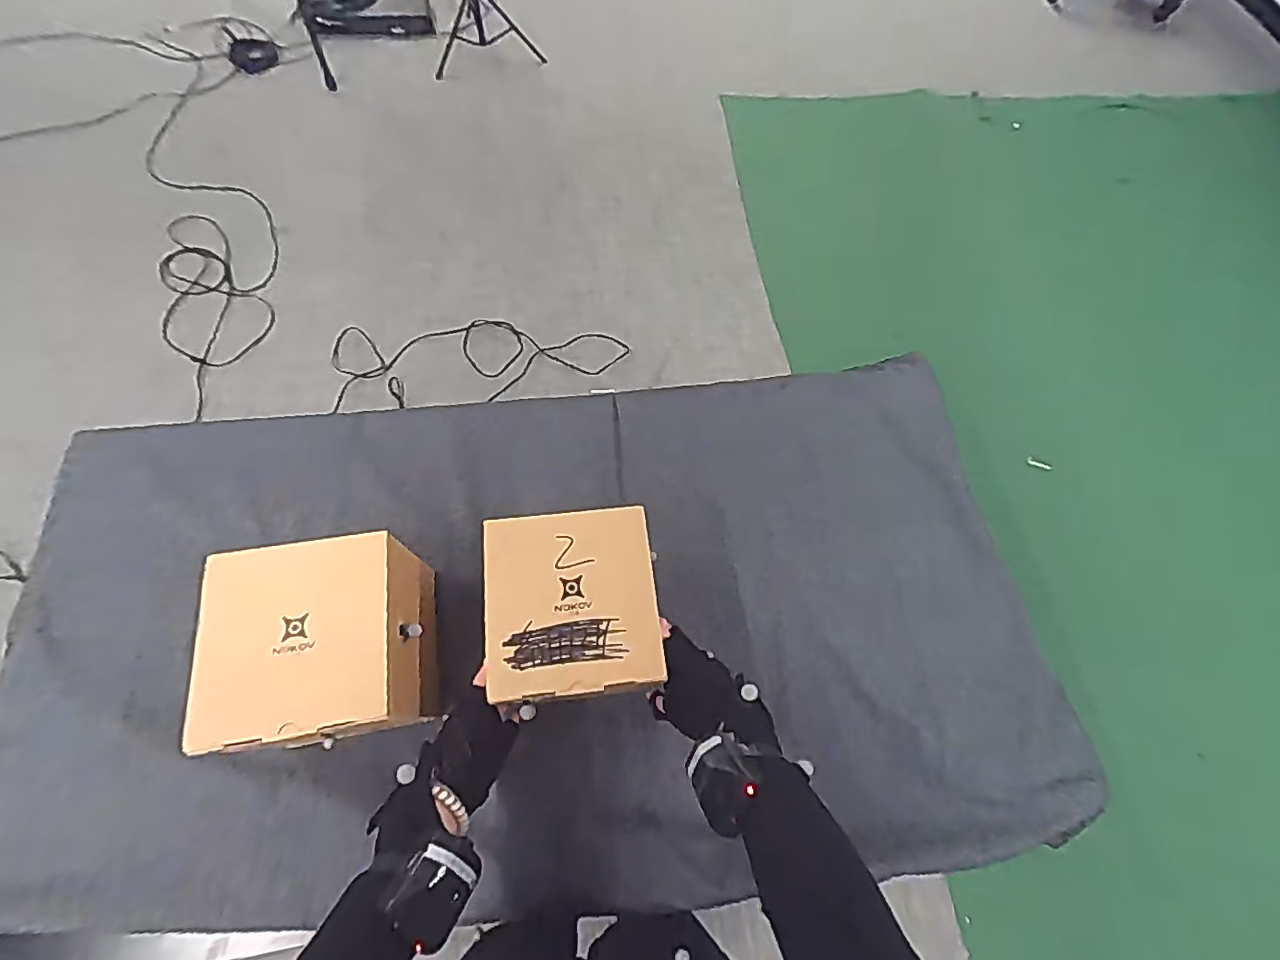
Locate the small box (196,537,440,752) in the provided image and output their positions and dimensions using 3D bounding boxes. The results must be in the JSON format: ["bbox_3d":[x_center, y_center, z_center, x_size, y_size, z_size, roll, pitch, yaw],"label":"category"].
[{"bbox_3d":[-0.319,0.177,0.576,0.168,0.176,0.179,-8,68,-8],"label":"small box"}]
